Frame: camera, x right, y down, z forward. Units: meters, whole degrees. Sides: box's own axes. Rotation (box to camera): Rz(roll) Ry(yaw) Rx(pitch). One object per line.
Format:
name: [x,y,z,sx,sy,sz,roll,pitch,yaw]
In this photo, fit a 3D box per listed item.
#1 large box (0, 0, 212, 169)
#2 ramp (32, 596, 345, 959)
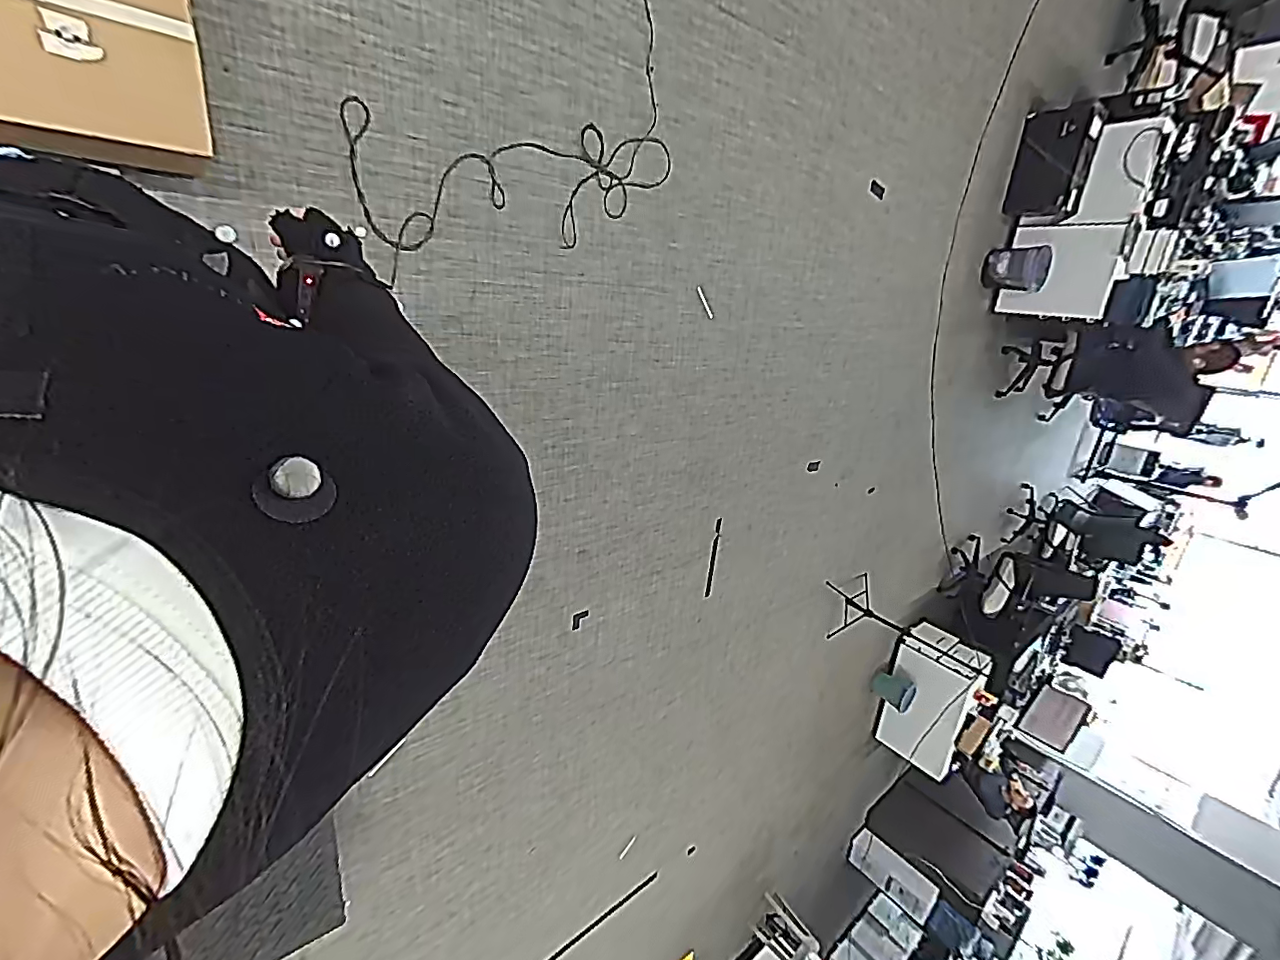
large box: [-0.897,-0.663,0.764,0.408,0.320,0.320,-12,116,-39]
ramp: [-1.054,0.814,1.336,0.509,0.206,0.991,-10,114,-37]
